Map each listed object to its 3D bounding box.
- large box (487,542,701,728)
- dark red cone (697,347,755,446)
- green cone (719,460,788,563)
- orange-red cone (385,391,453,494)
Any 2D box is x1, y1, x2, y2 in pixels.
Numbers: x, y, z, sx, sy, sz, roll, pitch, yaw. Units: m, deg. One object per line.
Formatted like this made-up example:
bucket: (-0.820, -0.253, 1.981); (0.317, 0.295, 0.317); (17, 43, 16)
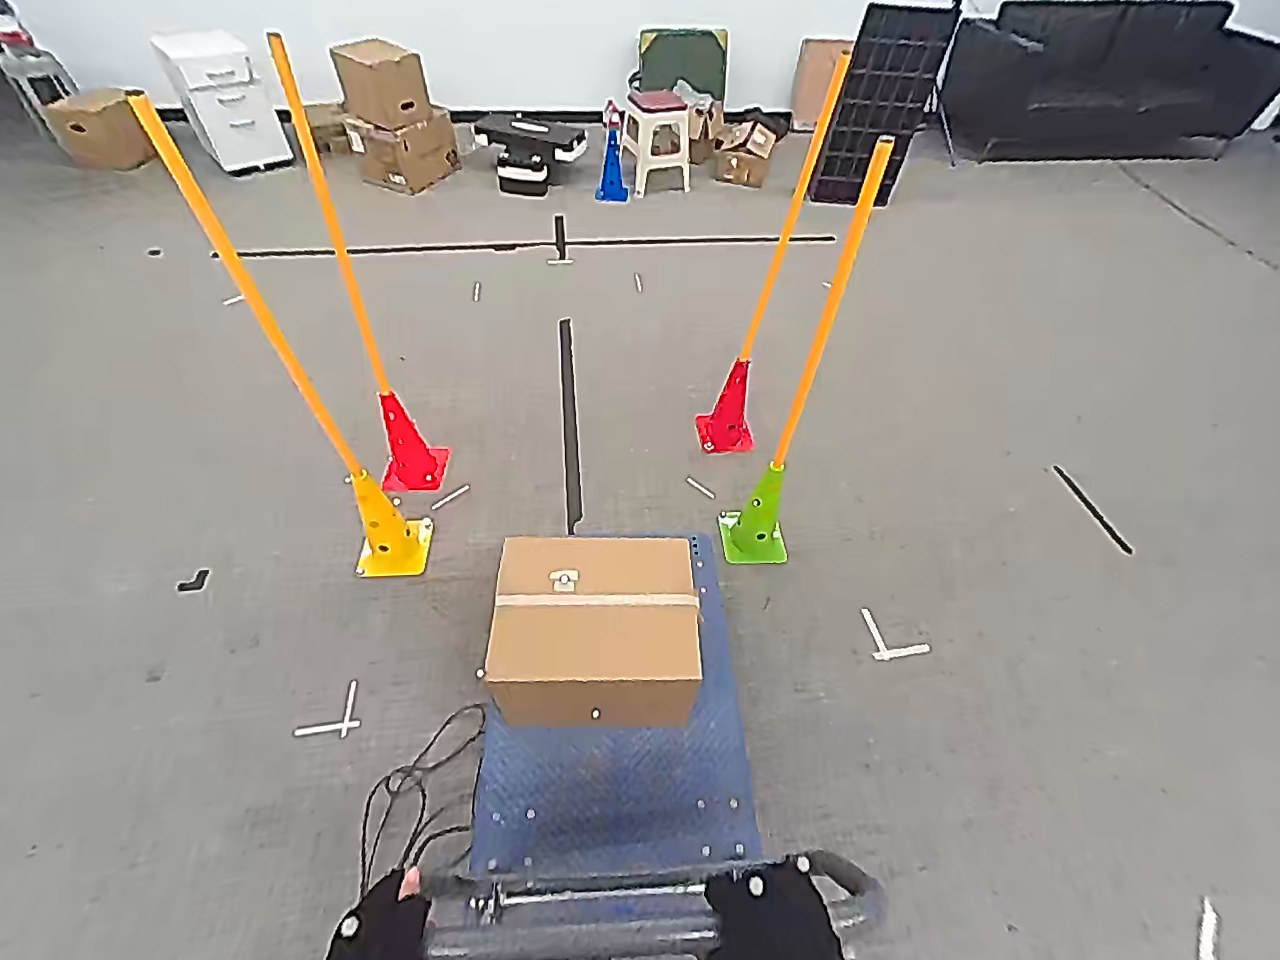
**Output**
large box: (-0.091, 0.351, 1.209); (0.408, 0.320, 0.320); (0, 50, -2)
dark red cone: (0.341, -0.305, 1.952); (0.201, 0.394, 0.202); (-3, 51, -8)
green cone: (0.382, 0.077, 1.655); (0.202, 0.368, 0.200); (0, 50, -5)
orange-red cone: (-0.769, -0.146, 1.782); (0.198, 0.360, 0.199); (2, 48, -2)
